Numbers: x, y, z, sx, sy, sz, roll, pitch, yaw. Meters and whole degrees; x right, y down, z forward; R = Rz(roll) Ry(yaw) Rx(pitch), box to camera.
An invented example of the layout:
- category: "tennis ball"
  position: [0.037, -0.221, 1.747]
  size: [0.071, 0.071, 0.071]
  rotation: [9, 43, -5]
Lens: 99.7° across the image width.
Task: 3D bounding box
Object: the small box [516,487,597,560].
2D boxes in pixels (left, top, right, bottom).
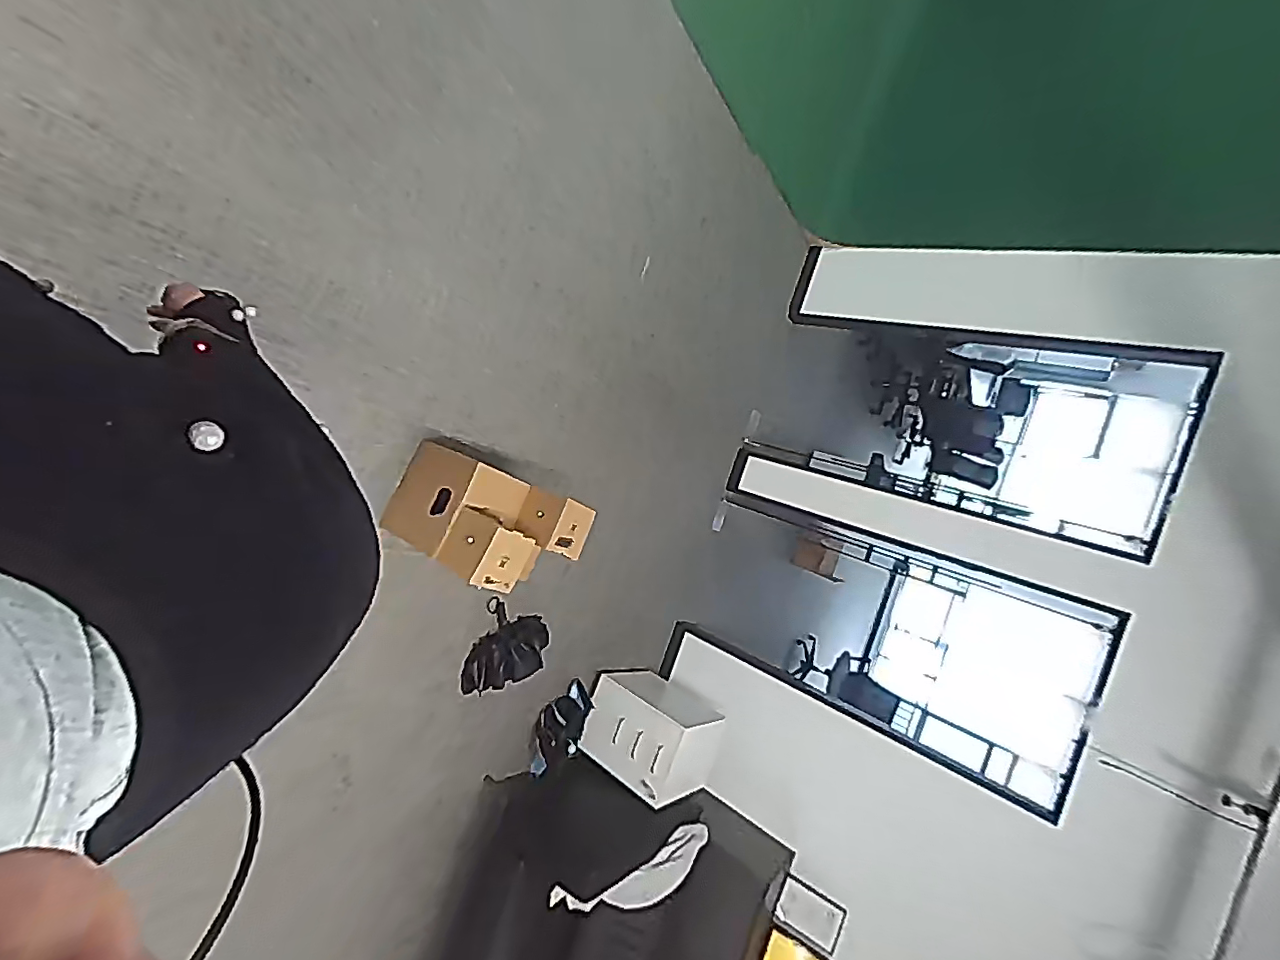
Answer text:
- category: "small box"
  position: [-0.278, 0.140, 1.767]
  size: [0.168, 0.176, 0.179]
  rotation: [35, 73, -55]

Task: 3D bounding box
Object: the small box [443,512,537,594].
- category: "small box"
  position: [-0.439, 0.209, 1.571]
  size: [0.168, 0.176, 0.179]
  rotation: [35, 77, -55]
